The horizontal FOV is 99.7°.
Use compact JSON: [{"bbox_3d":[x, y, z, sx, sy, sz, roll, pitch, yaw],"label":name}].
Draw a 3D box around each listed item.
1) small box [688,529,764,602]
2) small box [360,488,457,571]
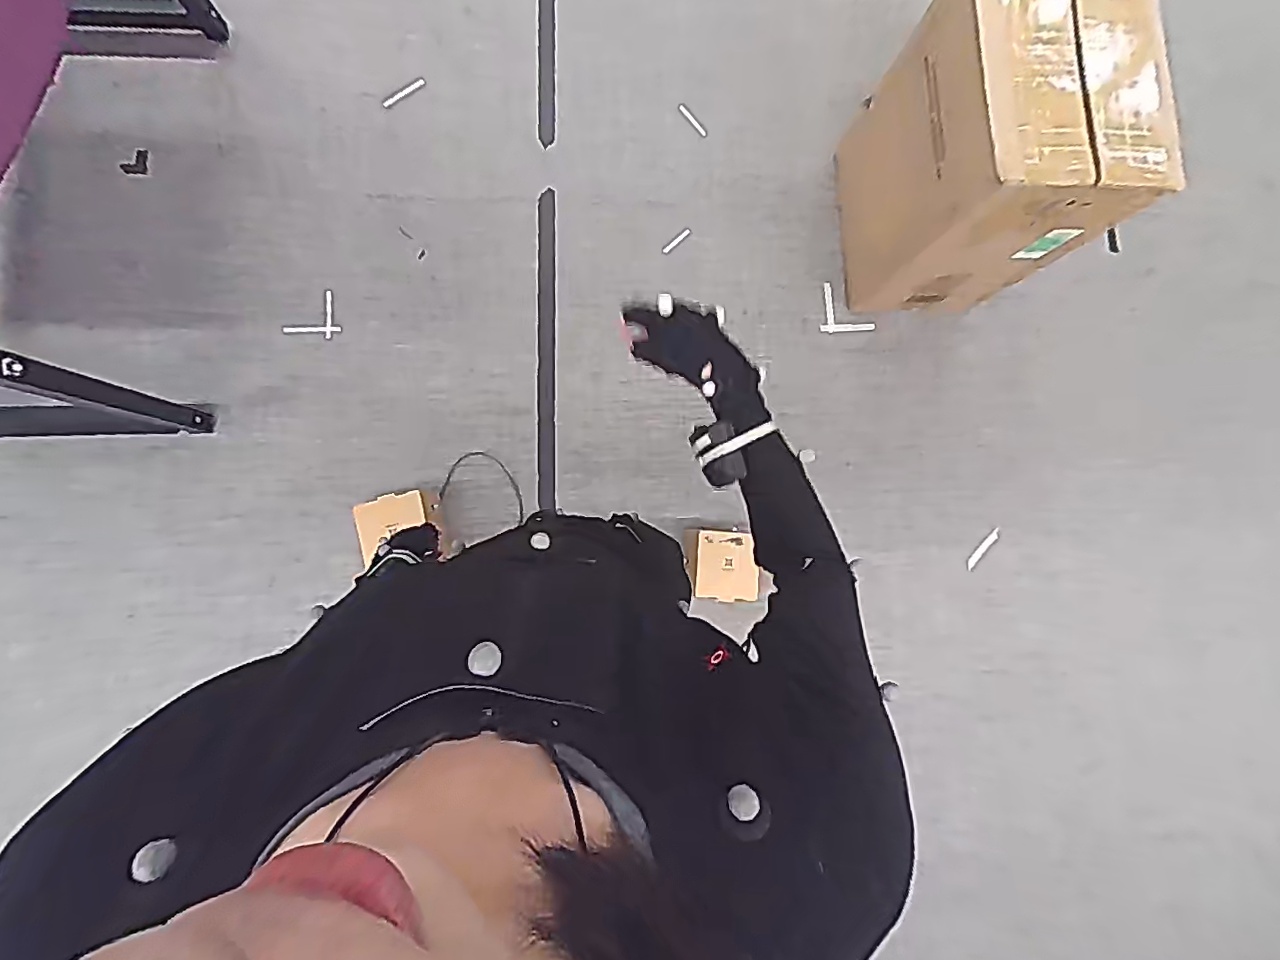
[{"bbox_3d":[0.229,0.227,1.471,0.168,0.176,0.179,5,85,-5],"label":"small box"},{"bbox_3d":[-0.594,0.129,1.404,0.168,0.176,0.179,-14,87,-3],"label":"small box"}]
